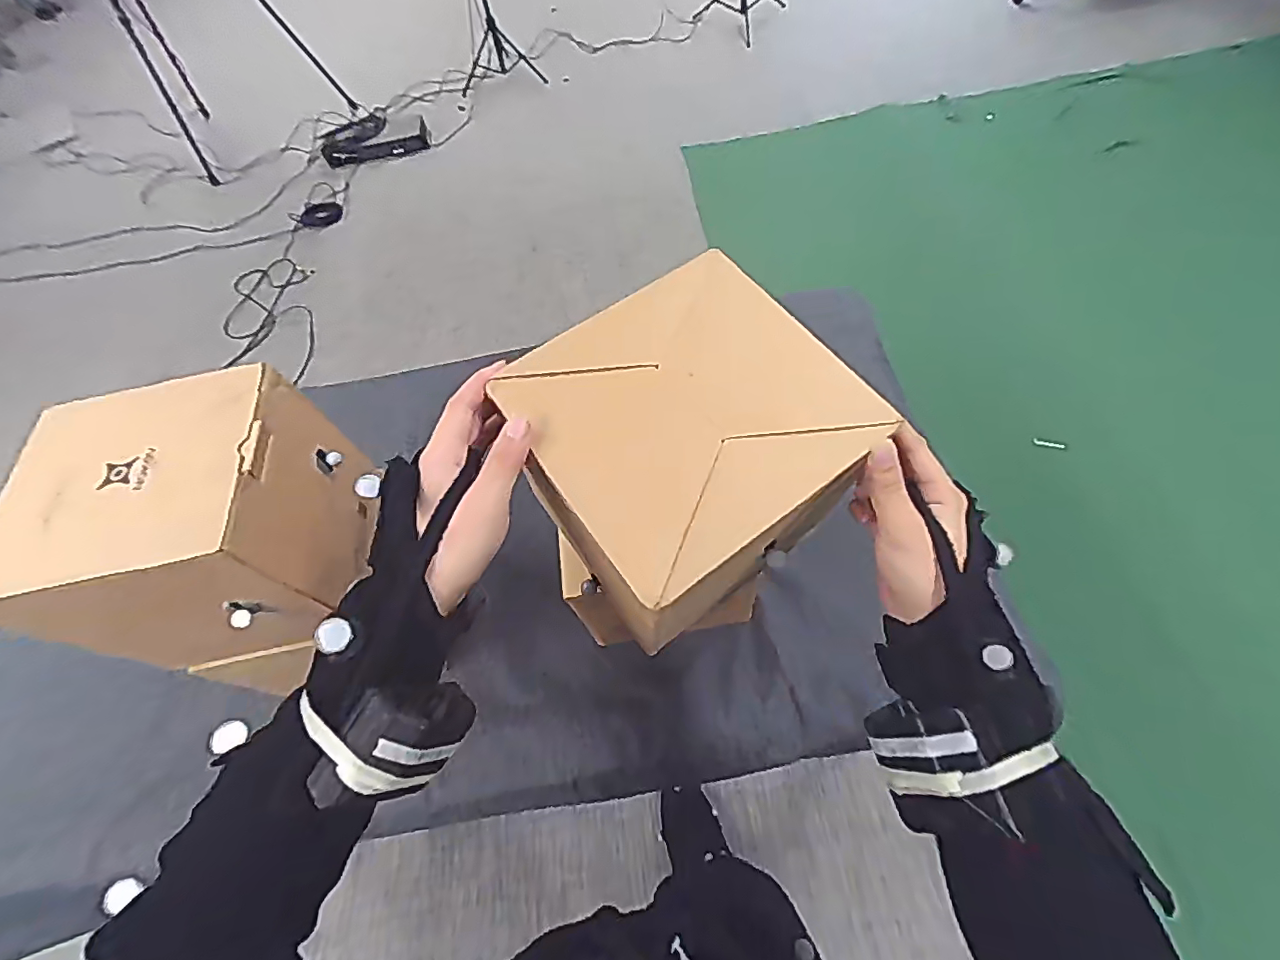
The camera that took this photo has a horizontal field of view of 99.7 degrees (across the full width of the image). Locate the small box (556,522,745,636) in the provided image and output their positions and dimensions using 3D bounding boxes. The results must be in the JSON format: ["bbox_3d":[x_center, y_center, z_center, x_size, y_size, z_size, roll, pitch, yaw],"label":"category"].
[{"bbox_3d":[0.013,0.058,0.582,0.179,0.176,0.168,-10,59,0],"label":"small box"}]

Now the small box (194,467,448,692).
[{"bbox_3d":[-0.321,0.113,0.585,0.168,0.176,0.179,-11,59,0],"label":"small box"}]

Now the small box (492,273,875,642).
[{"bbox_3d":[0.026,-0.012,0.380,0.179,0.176,0.168,-34,70,-14],"label":"small box"}]

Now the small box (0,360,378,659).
[{"bbox_3d":[-0.342,0.033,0.446,0.179,0.176,0.168,-13,58,0],"label":"small box"}]
